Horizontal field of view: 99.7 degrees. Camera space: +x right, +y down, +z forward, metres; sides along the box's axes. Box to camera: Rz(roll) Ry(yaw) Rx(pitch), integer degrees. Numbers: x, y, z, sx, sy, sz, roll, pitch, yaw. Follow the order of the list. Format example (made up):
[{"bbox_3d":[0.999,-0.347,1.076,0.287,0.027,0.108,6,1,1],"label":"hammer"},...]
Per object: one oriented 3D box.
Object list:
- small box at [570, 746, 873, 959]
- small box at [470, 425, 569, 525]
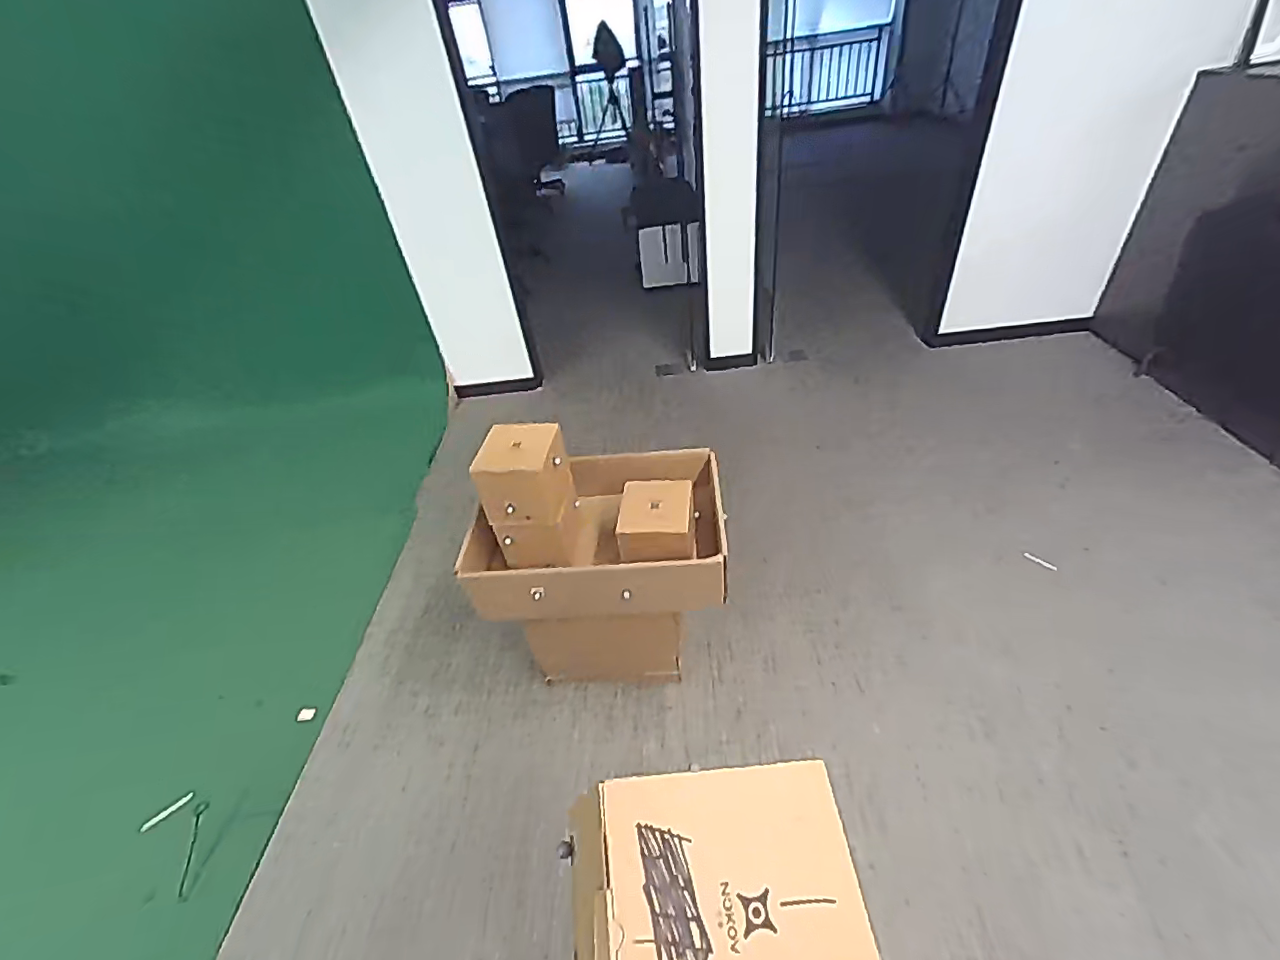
[{"bbox_3d":[0.042,0.314,0.412,0.179,0.176,0.168,3,53,-15],"label":"small box"},{"bbox_3d":[-0.272,-0.014,1.274,0.168,0.176,0.179,-1,41,9],"label":"small box"}]
